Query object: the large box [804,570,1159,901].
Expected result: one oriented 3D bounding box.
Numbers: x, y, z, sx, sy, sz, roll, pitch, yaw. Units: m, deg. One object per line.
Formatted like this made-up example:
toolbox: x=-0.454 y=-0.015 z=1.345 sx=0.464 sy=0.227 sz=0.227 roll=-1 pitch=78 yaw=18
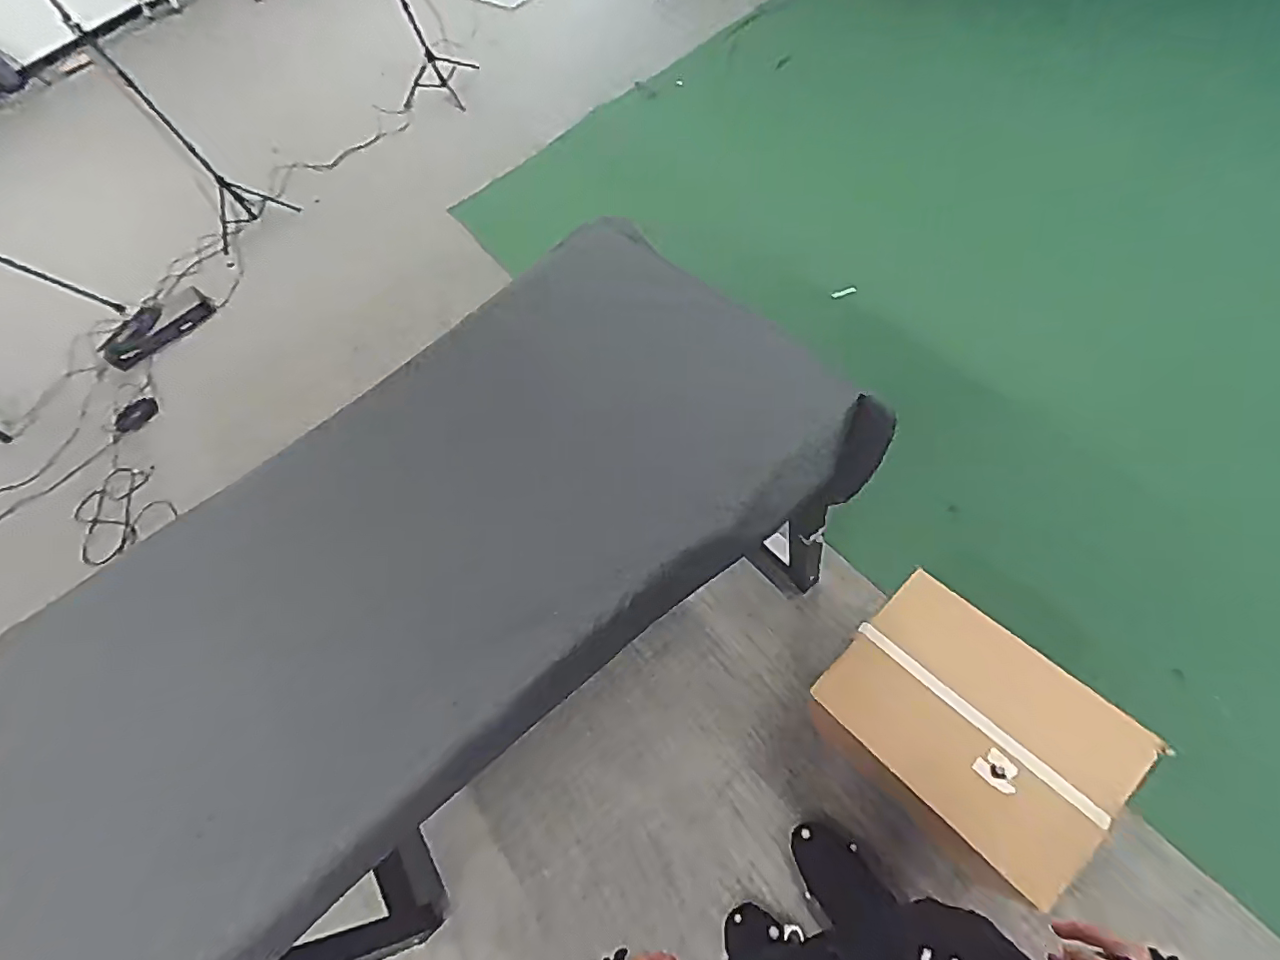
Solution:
large box: x=0.564 y=0.444 z=0.994 sx=0.320 sy=0.320 sz=0.408 roll=-43 pitch=60 yaw=-11
